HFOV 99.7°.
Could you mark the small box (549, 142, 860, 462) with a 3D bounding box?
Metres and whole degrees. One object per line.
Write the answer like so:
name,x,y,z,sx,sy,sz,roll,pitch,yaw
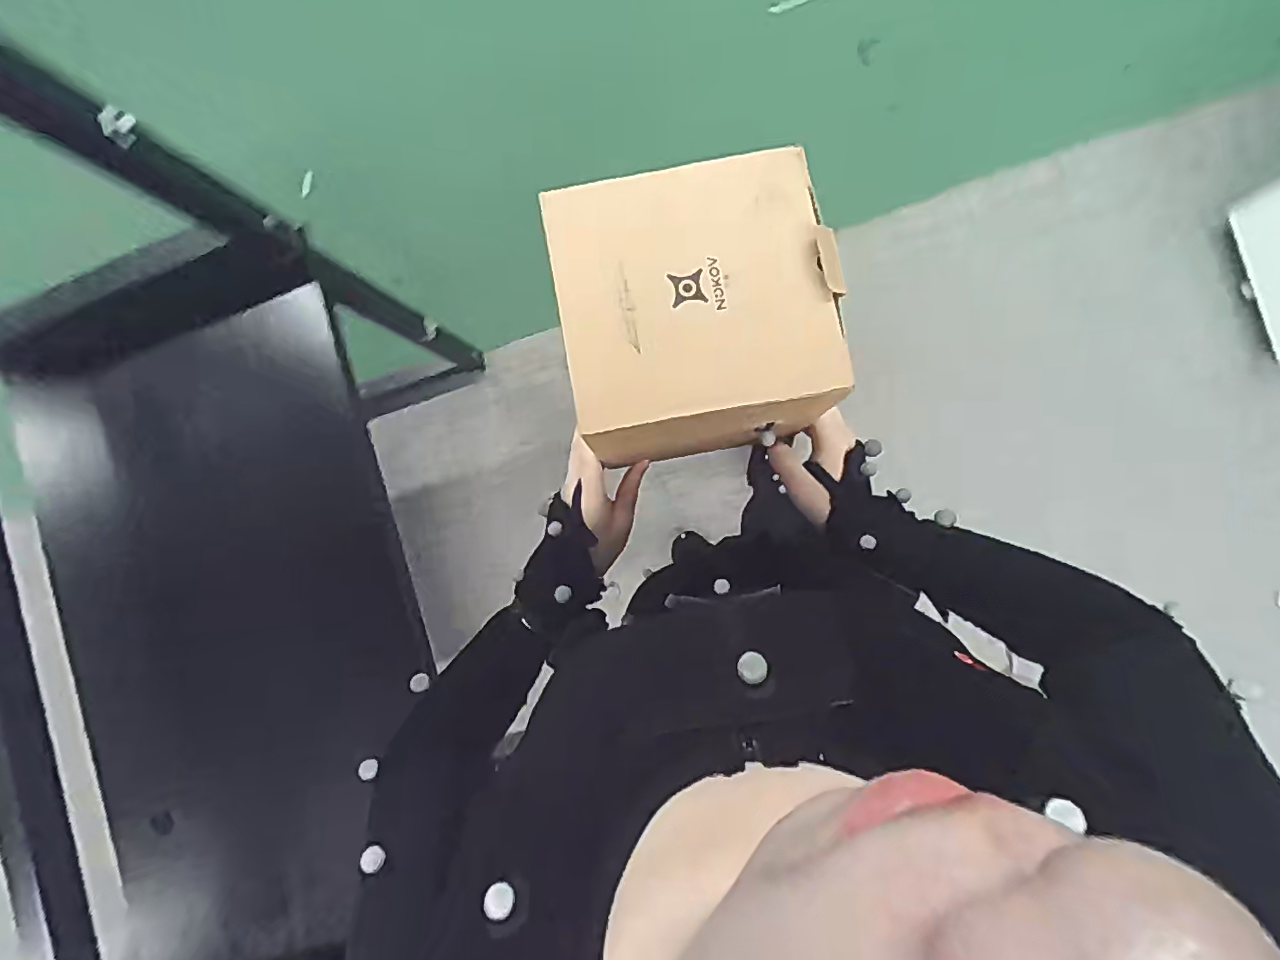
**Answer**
small box,0.041,-0.115,0.419,0.179,0.176,0.168,-10,84,2
